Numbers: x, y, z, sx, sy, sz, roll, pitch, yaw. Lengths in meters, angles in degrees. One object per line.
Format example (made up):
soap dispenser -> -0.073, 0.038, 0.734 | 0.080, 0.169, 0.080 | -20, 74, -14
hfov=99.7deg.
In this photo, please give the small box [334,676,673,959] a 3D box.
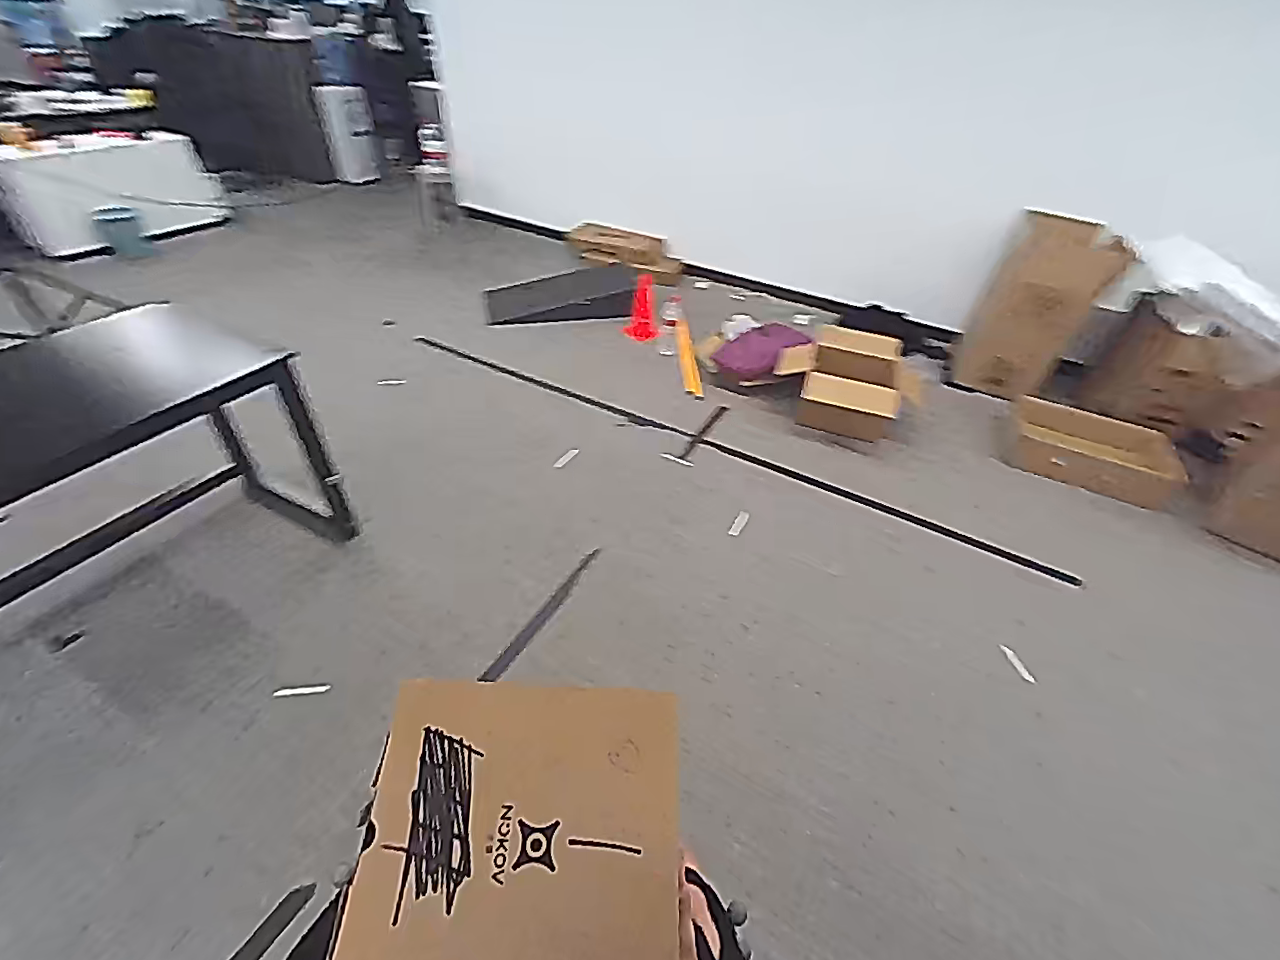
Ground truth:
small box -> -0.073, 0.242, 0.375 | 0.179, 0.176, 0.168 | 3, 58, -3
